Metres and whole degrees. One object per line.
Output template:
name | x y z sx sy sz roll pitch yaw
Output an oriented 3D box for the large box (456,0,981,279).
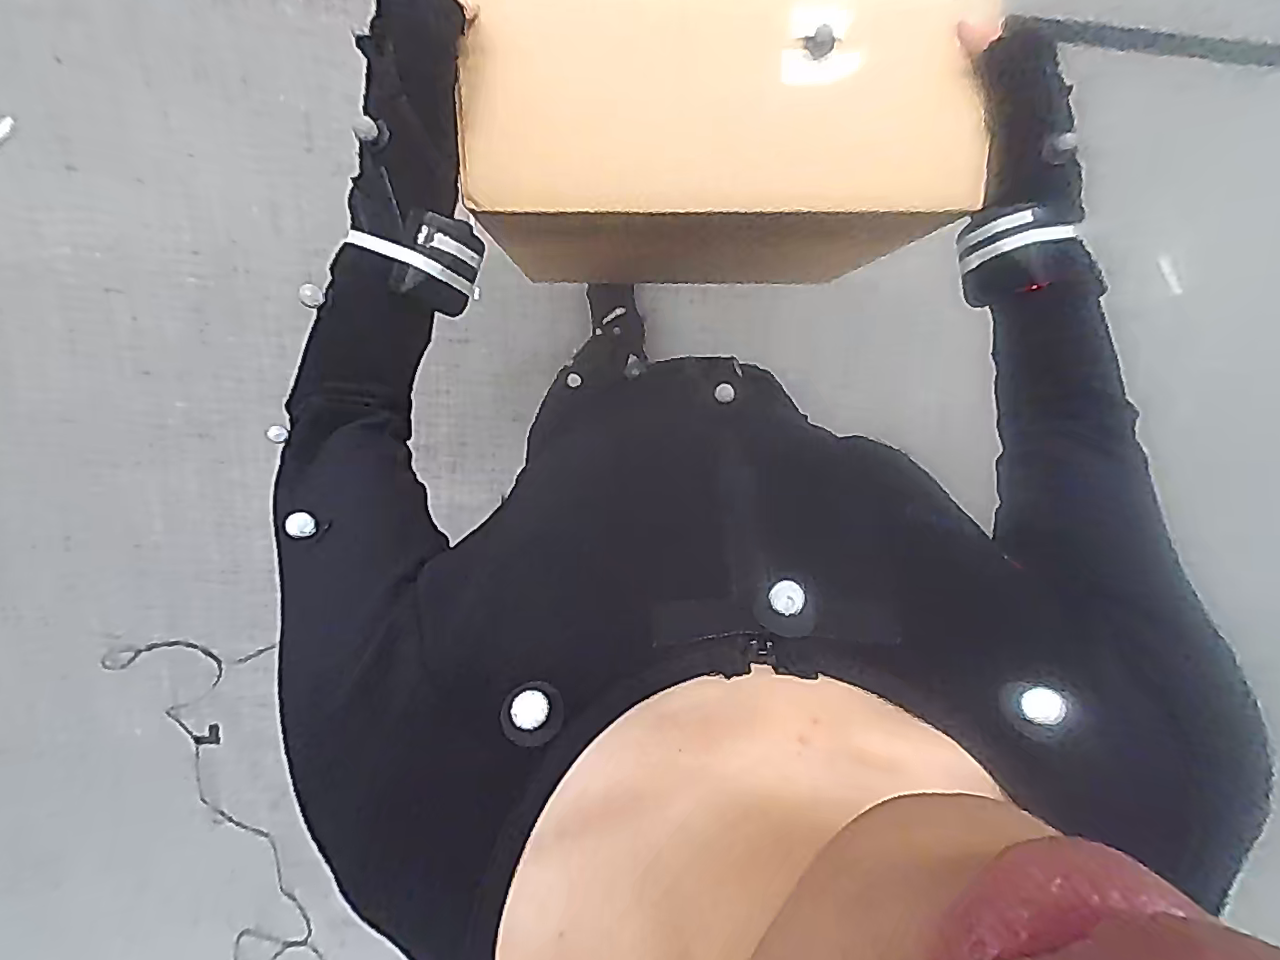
large box | 0.053 -0.399 0.549 0.408 0.320 0.320 -1 100 -2
